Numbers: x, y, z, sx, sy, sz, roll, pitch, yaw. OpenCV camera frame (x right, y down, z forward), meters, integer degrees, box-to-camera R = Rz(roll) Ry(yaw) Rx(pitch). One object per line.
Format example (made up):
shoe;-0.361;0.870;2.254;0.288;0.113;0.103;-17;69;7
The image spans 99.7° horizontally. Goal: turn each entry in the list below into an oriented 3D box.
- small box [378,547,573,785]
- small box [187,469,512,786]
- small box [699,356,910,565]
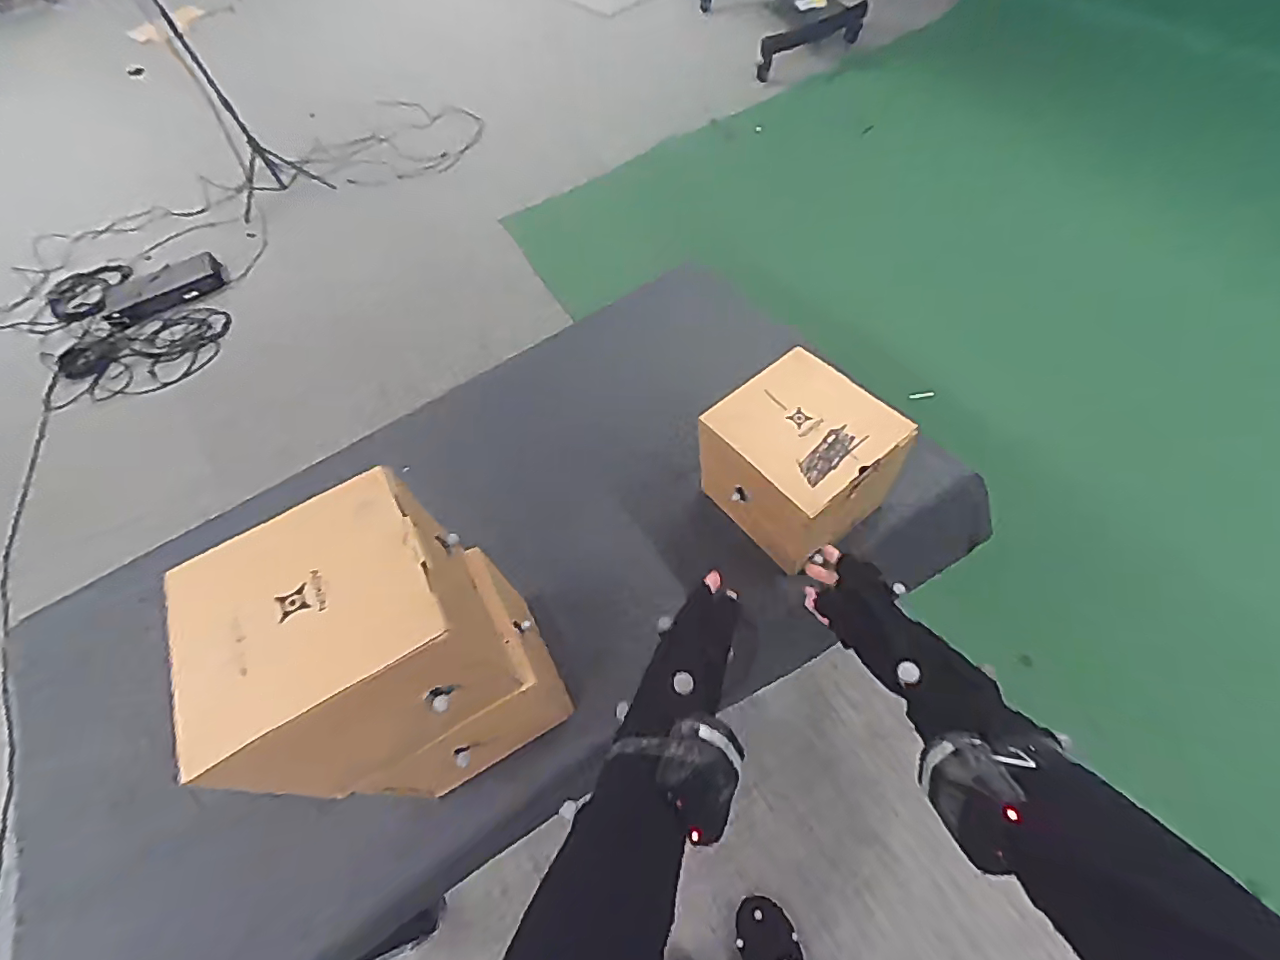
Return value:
small box;-0.197;0.211;0.596;0.179;0.176;0.168;-28;58;-10
small box;-0.226;0.129;0.458;0.179;0.176;0.168;-30;57;-10
small box;0.194;-0.014;0.681;0.168;0.176;0.179;-35;59;-13
